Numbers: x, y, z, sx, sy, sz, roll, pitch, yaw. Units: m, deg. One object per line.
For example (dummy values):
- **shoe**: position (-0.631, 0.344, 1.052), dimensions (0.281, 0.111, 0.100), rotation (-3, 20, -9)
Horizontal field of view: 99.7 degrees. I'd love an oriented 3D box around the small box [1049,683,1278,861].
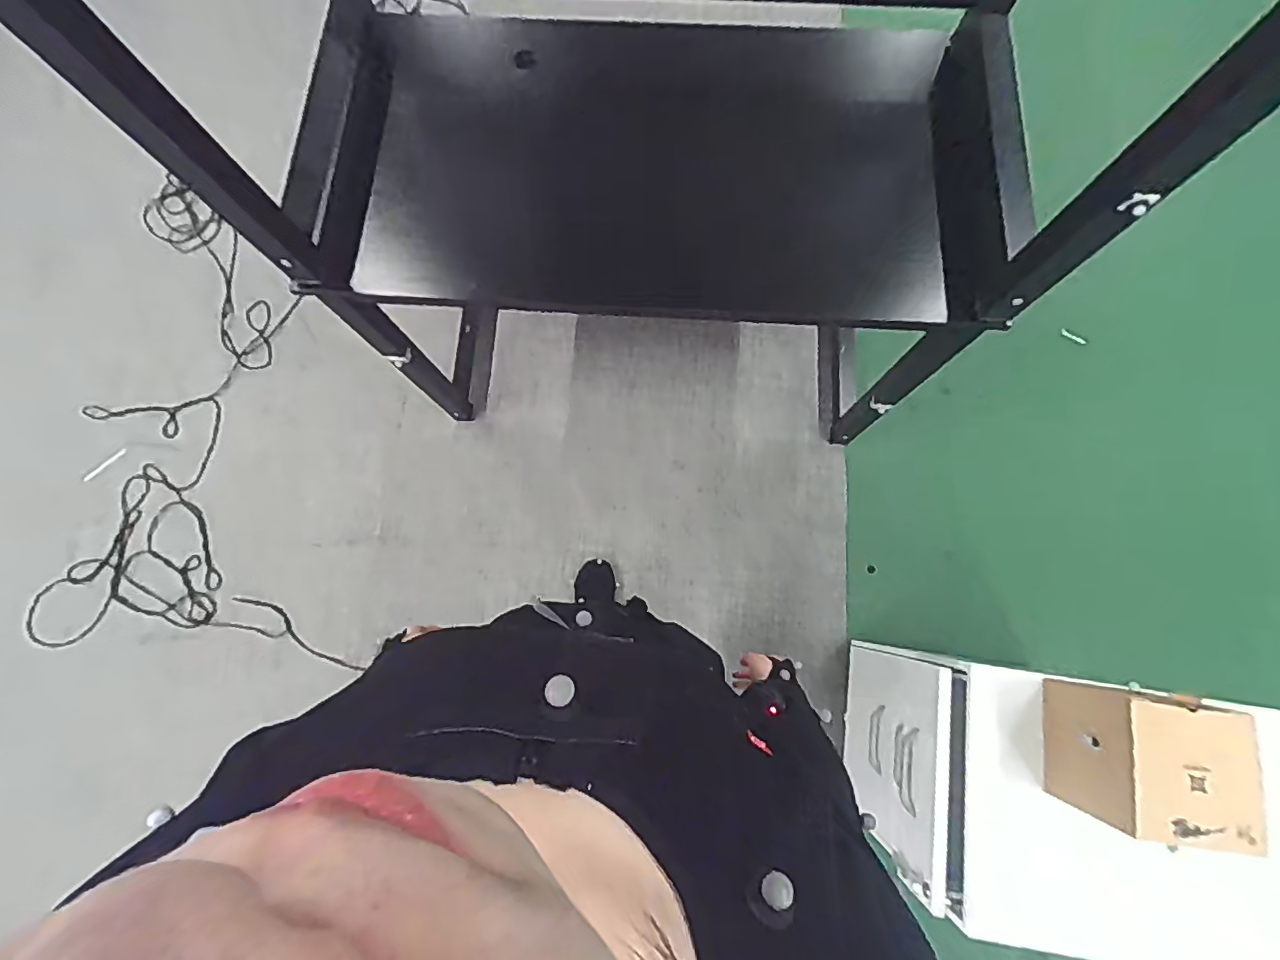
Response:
- **small box**: position (0.722, 0.397, 0.770), dimensions (0.168, 0.176, 0.179), rotation (7, 78, 3)
